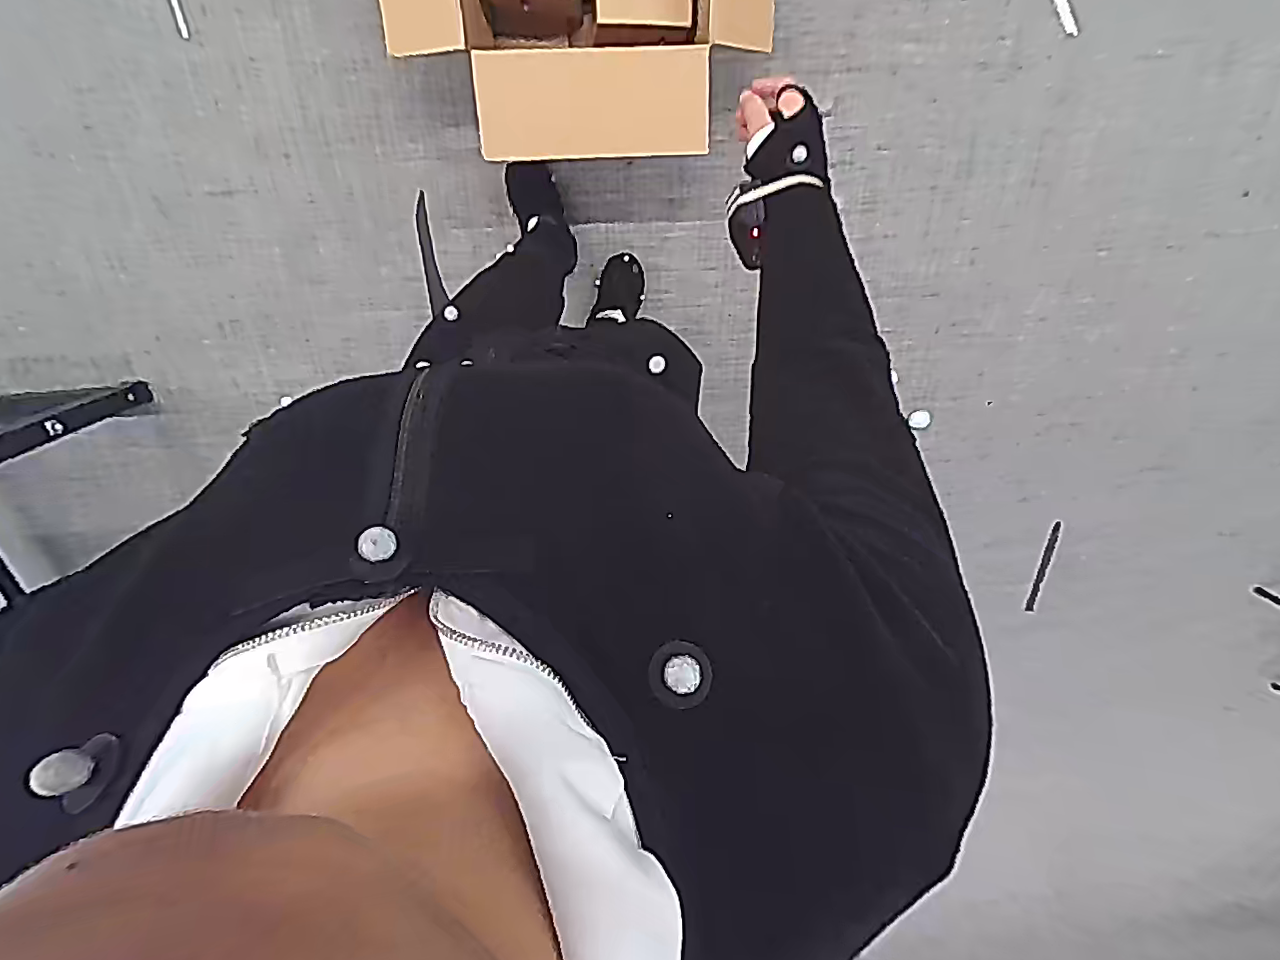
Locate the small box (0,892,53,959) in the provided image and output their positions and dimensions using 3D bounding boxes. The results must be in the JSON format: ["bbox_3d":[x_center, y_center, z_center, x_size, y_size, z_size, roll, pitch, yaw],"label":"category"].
[{"bbox_3d":[-1.373,0.973,1.090,0.168,0.176,0.179,-5,117,-1],"label":"small box"}]
